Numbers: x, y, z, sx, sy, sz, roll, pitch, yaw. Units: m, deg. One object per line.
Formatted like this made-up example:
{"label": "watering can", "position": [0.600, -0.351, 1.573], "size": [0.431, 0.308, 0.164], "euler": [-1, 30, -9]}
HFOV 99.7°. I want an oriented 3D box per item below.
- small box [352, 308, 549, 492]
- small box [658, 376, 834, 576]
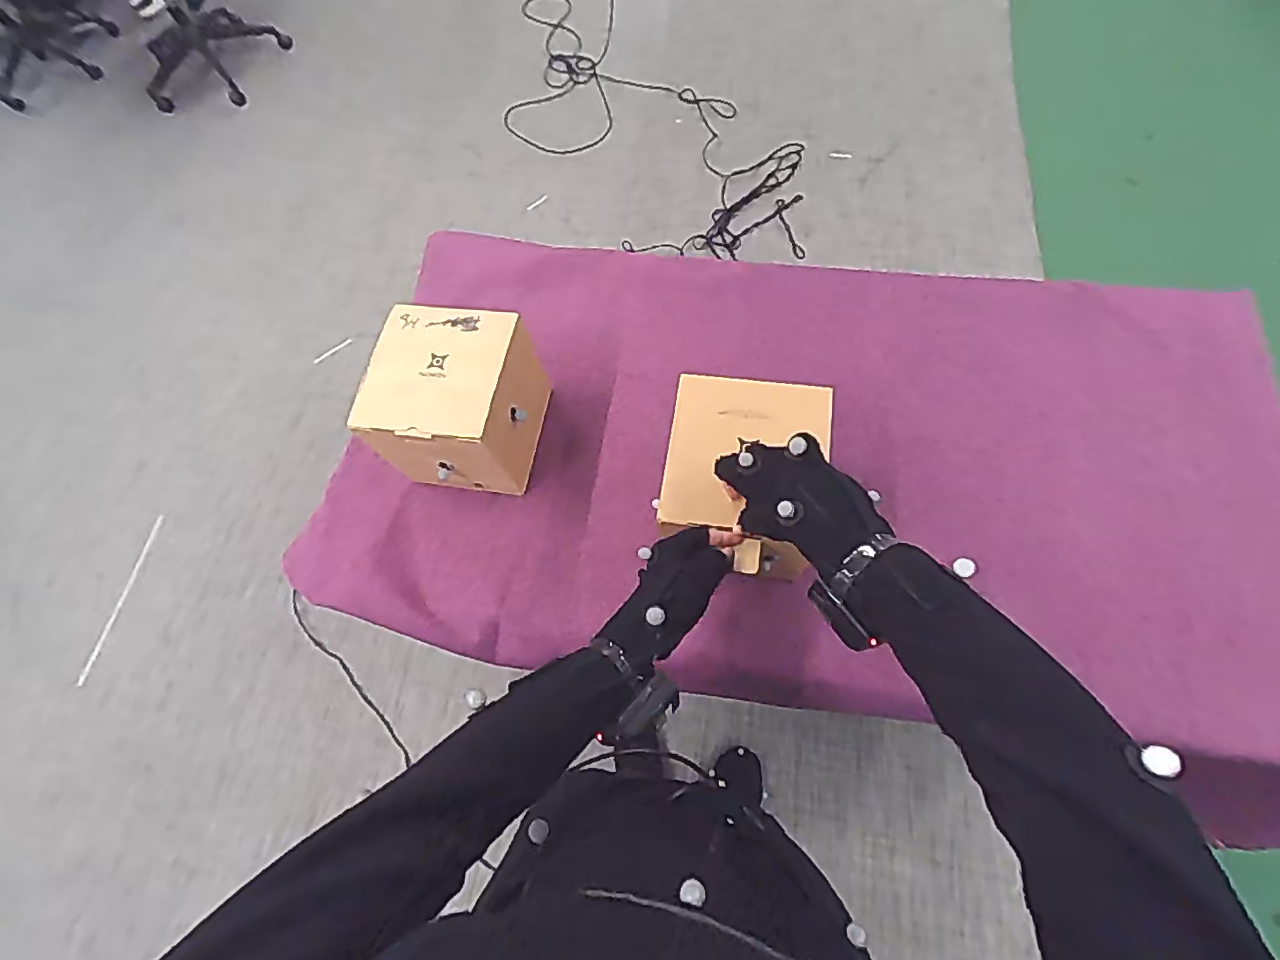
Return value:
{"label": "small box", "position": [-0.228, -0.096, 0.705], "size": [0.168, 0.176, 0.179], "euler": [7, 69, 8]}
{"label": "small box", "position": [0.119, 0.004, 0.630], "size": [0.168, 0.176, 0.179], "euler": [7, 68, 8]}
